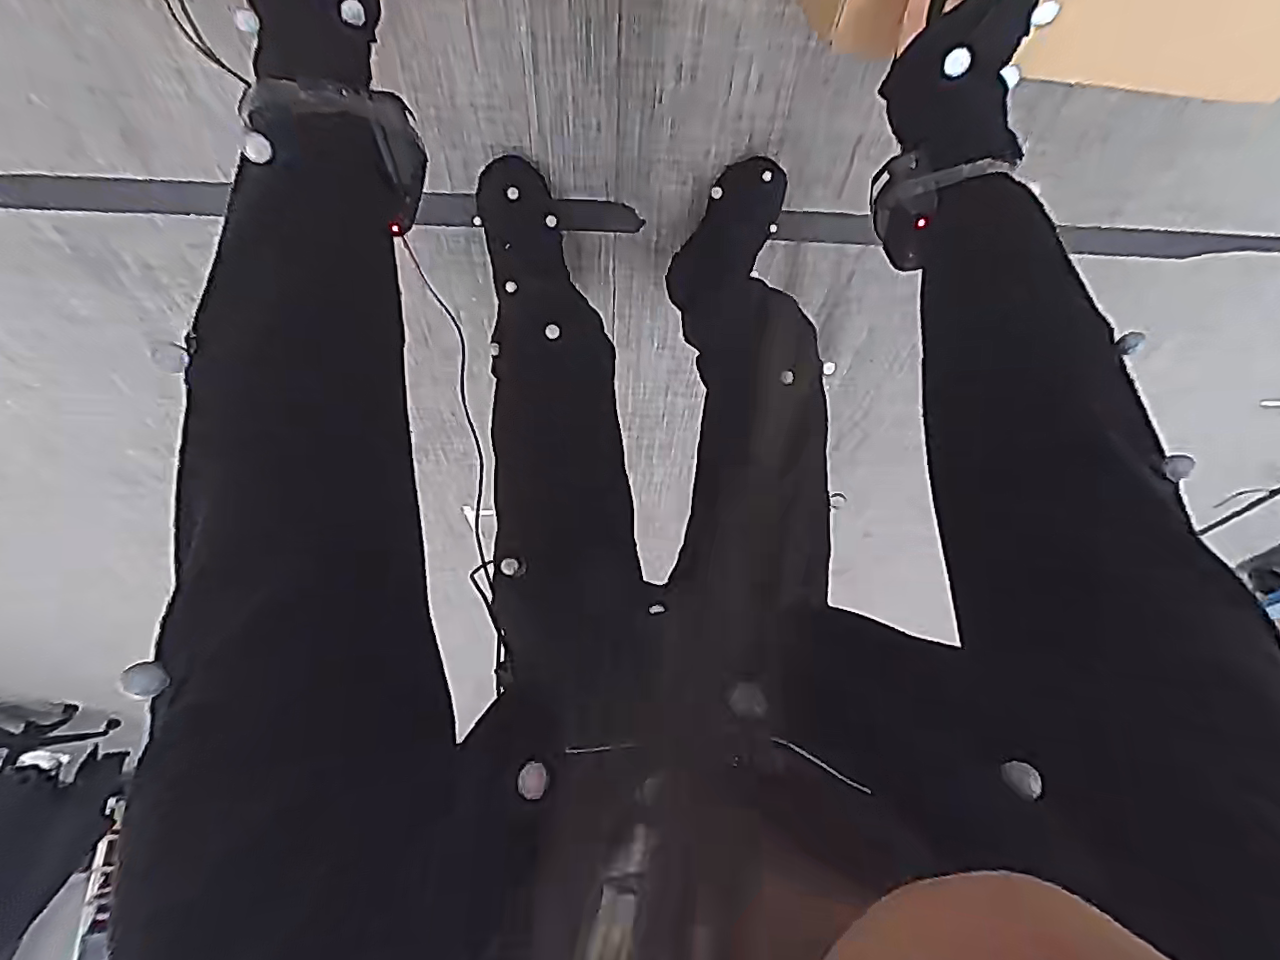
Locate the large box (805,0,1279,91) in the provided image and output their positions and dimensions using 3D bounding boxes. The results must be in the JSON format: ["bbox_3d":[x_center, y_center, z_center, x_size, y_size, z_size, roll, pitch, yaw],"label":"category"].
[{"bbox_3d":[0.353,-0.549,0.411,0.408,0.320,0.320,0,146,-8],"label":"large box"}]
